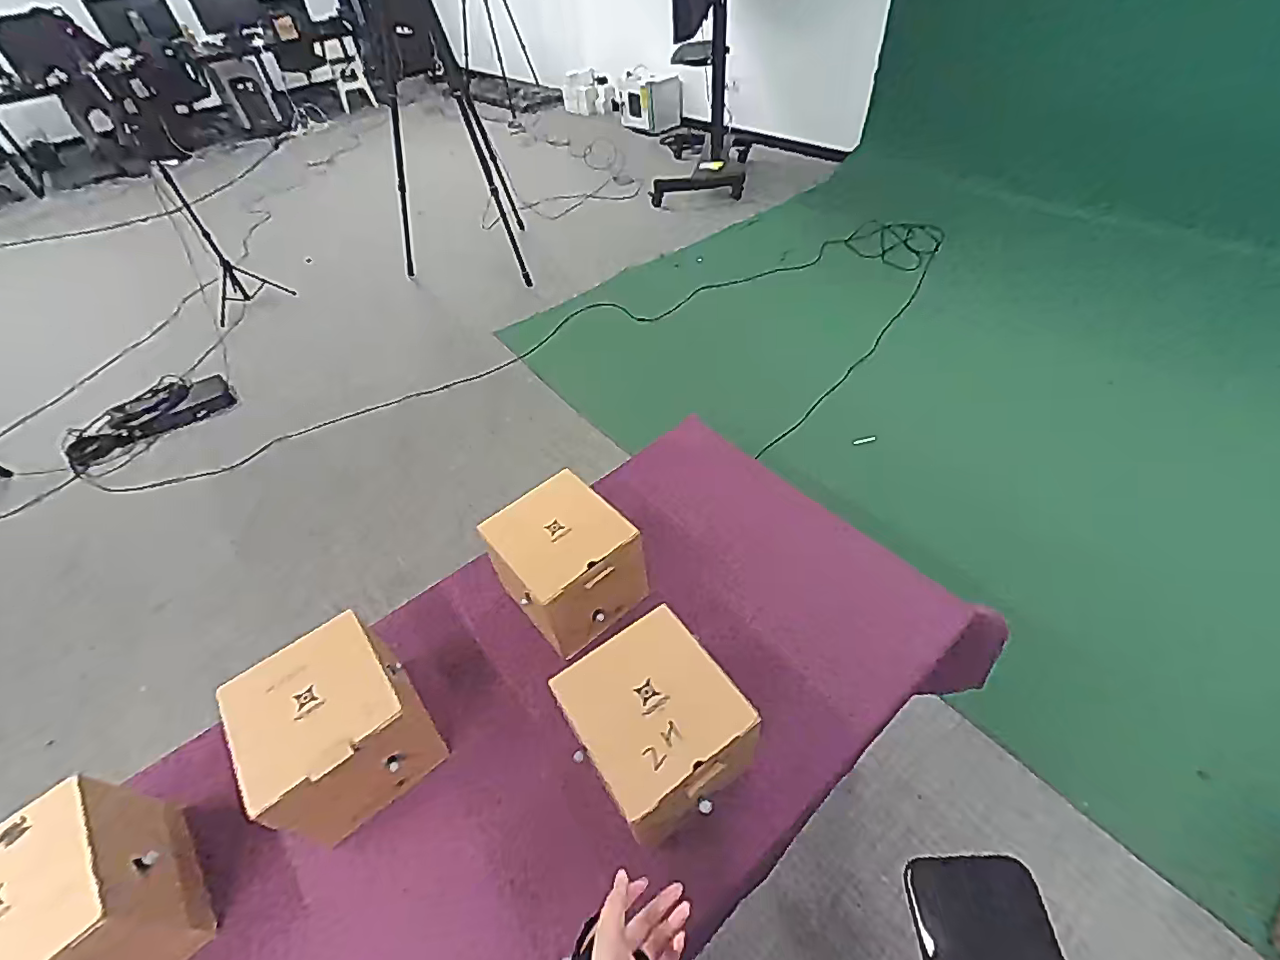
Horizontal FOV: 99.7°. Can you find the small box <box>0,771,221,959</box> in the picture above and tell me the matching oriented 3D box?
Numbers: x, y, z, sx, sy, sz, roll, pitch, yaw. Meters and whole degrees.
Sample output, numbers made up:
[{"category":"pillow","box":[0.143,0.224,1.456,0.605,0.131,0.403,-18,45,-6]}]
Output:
[{"category":"small box","box":[-0.596,0.454,0.572,0.168,0.176,0.179,-38,56,-26]}]

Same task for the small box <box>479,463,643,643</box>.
[{"category":"small box","box":[-0.112,0.112,0.822,0.168,0.176,0.179,-36,55,-23]}]

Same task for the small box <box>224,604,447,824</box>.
[{"category":"small box","box":[-0.374,0.300,0.685,0.168,0.176,0.179,-33,53,-23]}]

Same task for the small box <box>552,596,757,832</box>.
[{"category":"small box","box":[0.017,0.283,0.653,0.168,0.176,0.179,-30,52,-18]}]
